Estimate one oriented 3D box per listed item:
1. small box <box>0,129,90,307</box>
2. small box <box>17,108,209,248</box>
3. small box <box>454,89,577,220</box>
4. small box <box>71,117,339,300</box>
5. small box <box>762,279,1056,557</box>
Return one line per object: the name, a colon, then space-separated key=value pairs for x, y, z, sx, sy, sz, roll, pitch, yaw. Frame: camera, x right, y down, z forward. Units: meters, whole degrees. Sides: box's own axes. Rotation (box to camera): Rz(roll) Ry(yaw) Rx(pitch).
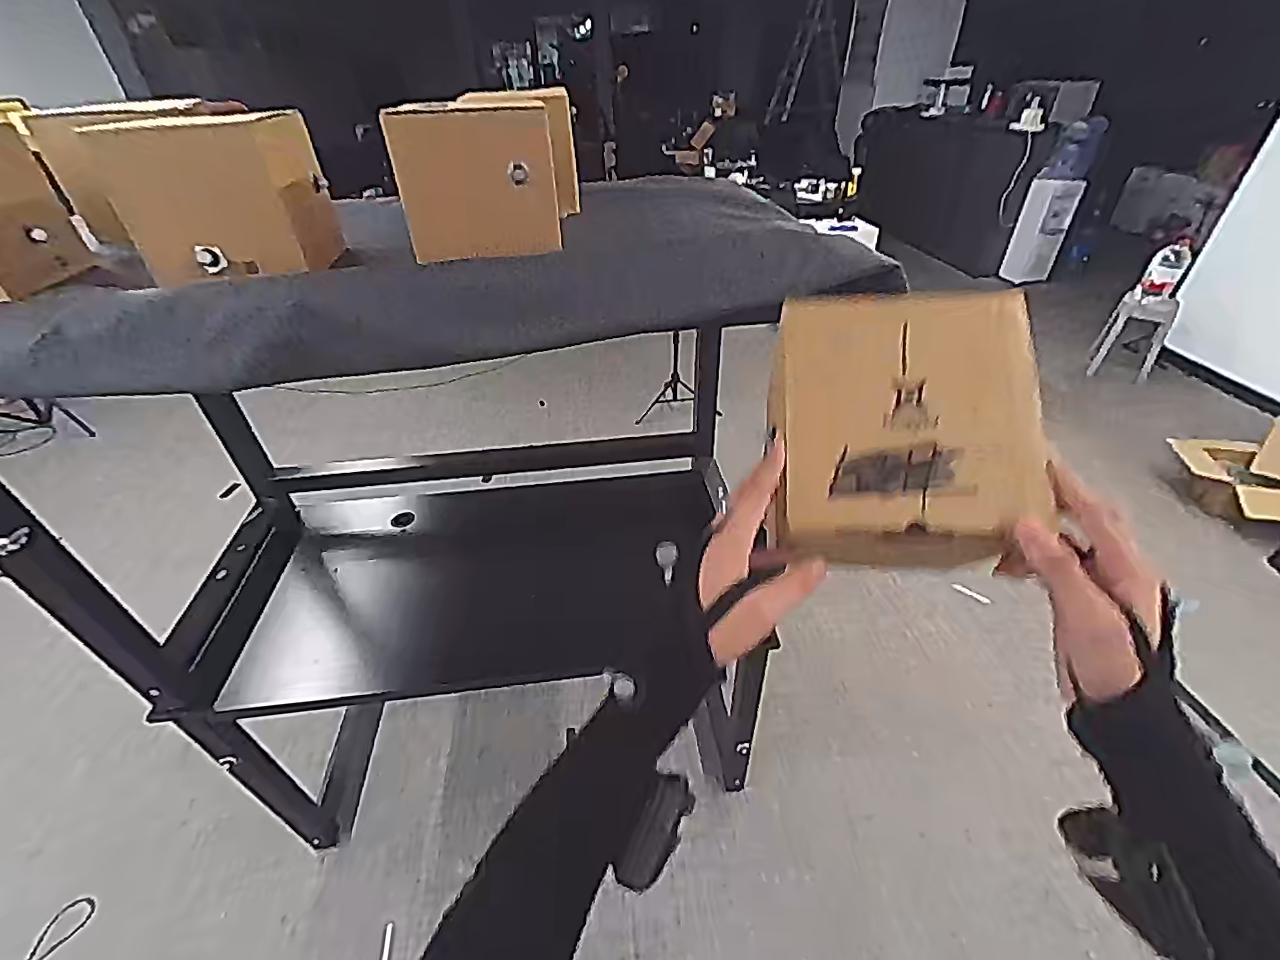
small box: x=-0.817 y=-0.294 z=0.618 sx=0.179 sy=0.176 sz=0.168 roll=-8 pitch=38 yaw=-8
small box: x=-0.770 y=-0.477 z=0.852 sx=0.179 sy=0.176 sz=0.168 roll=-7 pitch=39 yaw=-7
small box: x=-0.200 y=-0.544 z=0.910 sx=0.168 sy=0.176 sz=0.179 roll=-7 pitch=38 yaw=-5
small box: x=-0.489 y=-0.328 z=0.649 sx=0.168 sy=0.176 sz=0.179 roll=-9 pitch=37 yaw=-7
small box: x=0.189 y=-0.035 z=0.437 sx=0.168 sy=0.176 sz=0.179 roll=1 pitch=74 yaw=9
